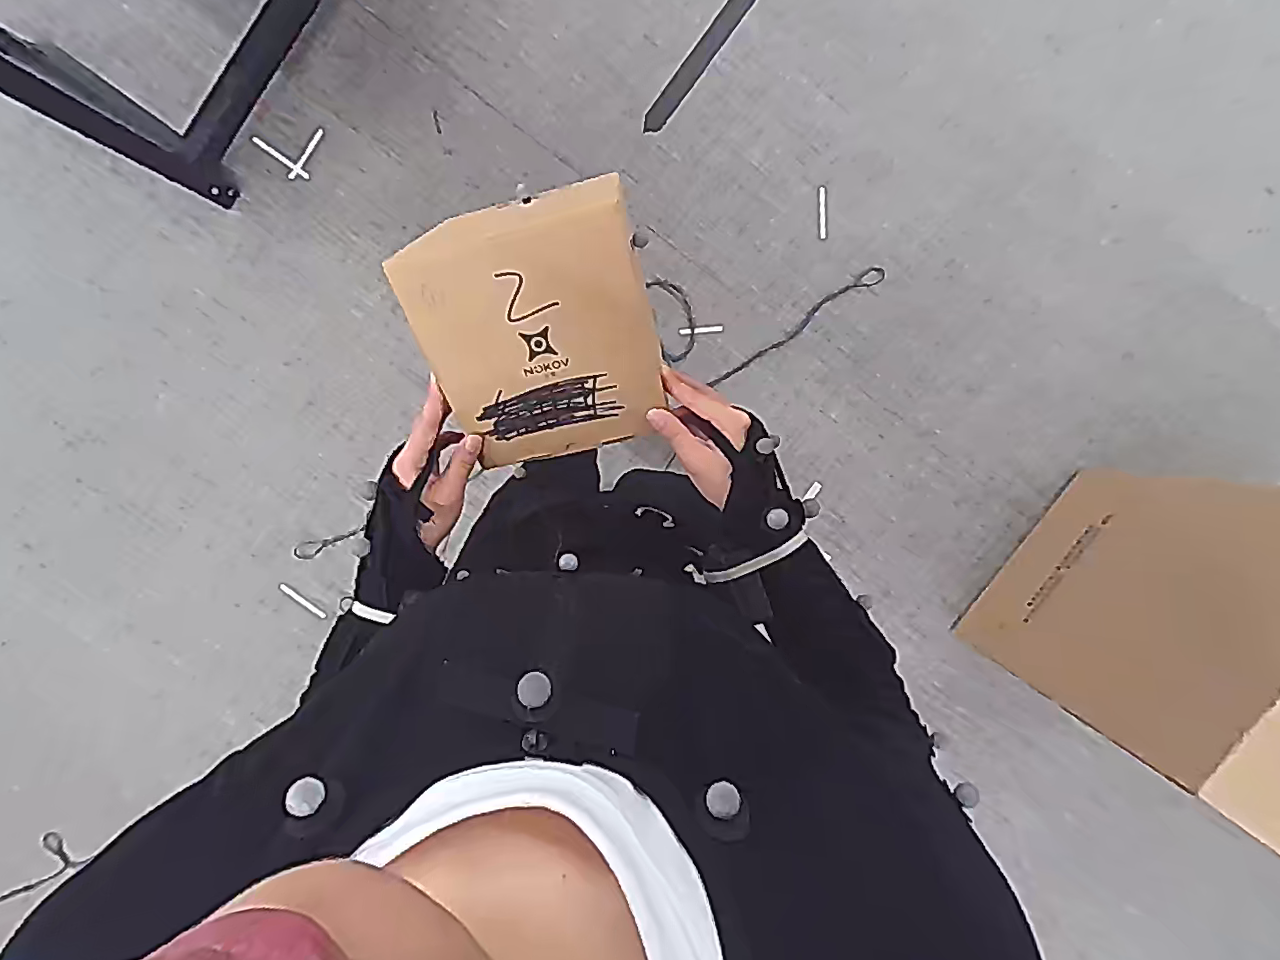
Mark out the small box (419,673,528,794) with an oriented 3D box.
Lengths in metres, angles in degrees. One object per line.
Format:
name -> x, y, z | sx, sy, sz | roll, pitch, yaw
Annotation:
small box -> -0.396, 0.610, 1.326 | 0.179, 0.176, 0.168 | 37, 93, -5
